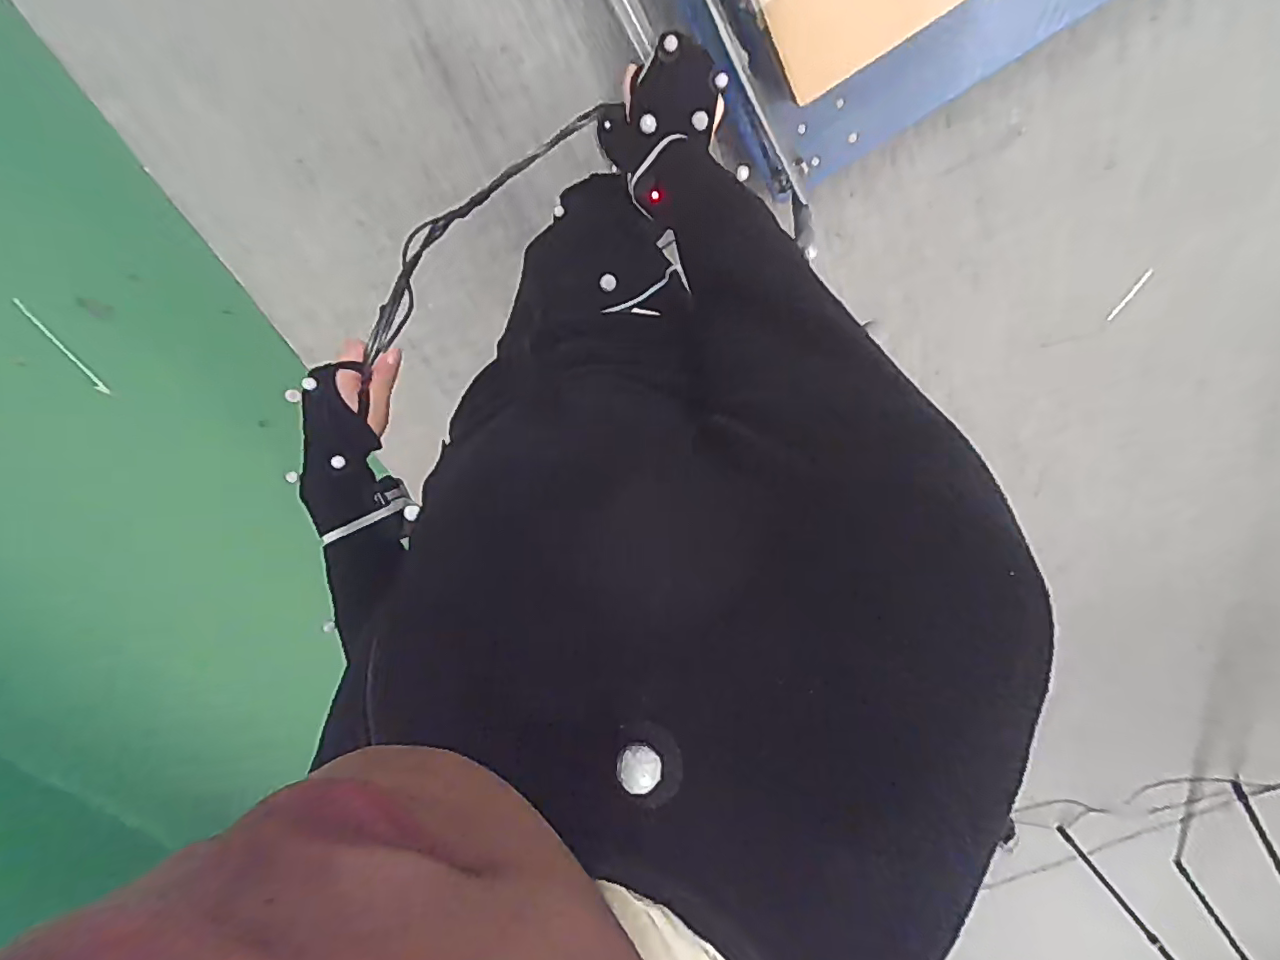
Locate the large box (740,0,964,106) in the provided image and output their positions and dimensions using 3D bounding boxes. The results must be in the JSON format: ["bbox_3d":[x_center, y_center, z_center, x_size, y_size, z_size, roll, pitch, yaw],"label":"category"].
[{"bbox_3d":[0.354,-0.852,0.824,0.408,0.320,0.320,-22,120,24],"label":"large box"}]
